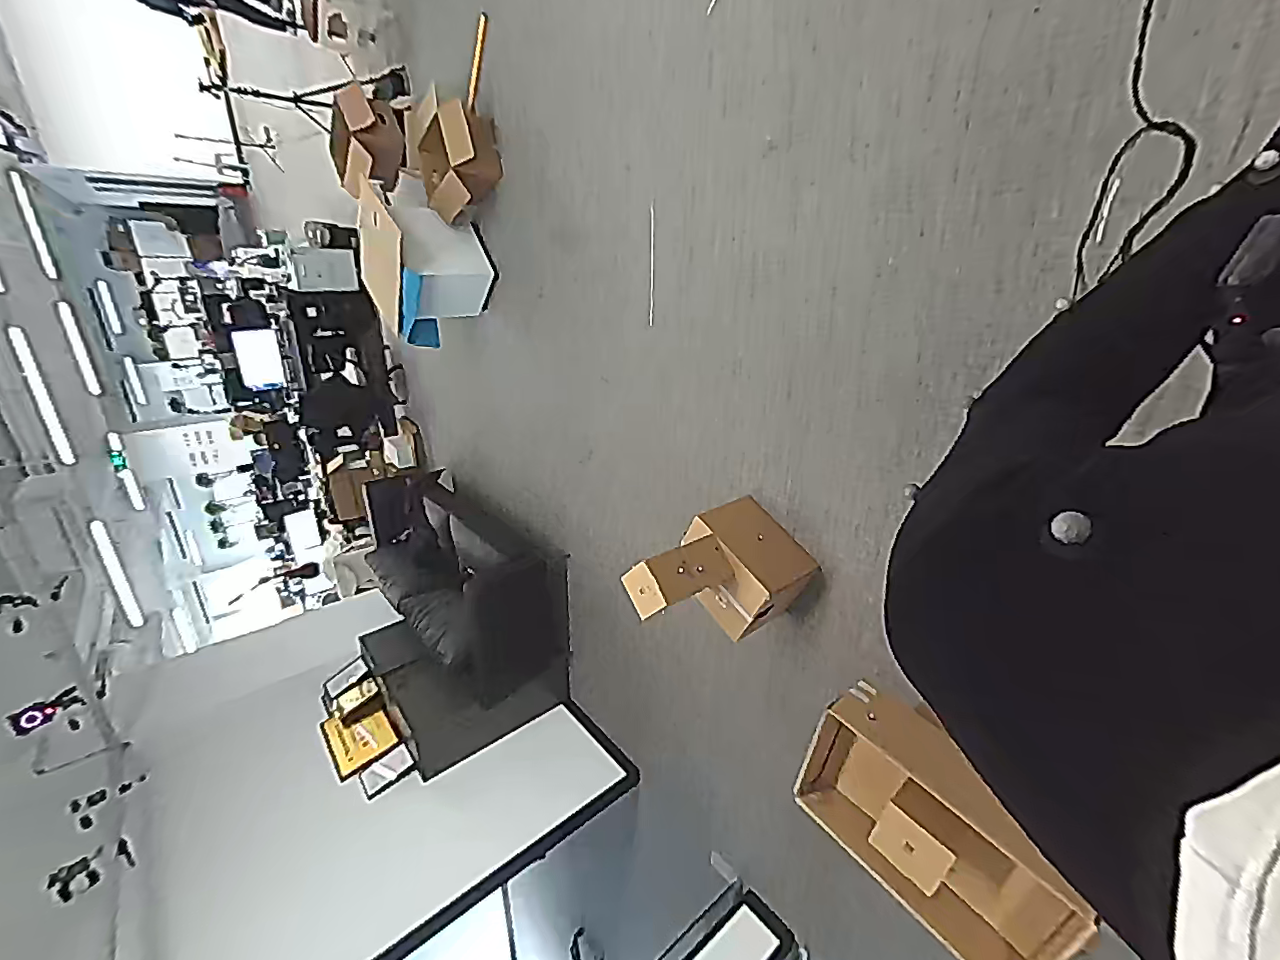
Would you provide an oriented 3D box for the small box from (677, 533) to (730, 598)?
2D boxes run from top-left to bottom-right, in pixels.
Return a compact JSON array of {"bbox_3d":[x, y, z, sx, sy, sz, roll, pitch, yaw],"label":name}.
[{"bbox_3d":[0.190,0.312,1.953,0.179,0.176,0.168,-45,68,49],"label":"small box"}]

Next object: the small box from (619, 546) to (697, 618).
[{"bbox_3d":[0.063,0.348,1.853,0.179,0.176,0.168,-45,68,47],"label":"small box"}]

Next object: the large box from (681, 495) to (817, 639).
[{"bbox_3d":[0.394,0.323,2.107,0.408,0.320,0.320,47,136,29],"label":"large box"}]
